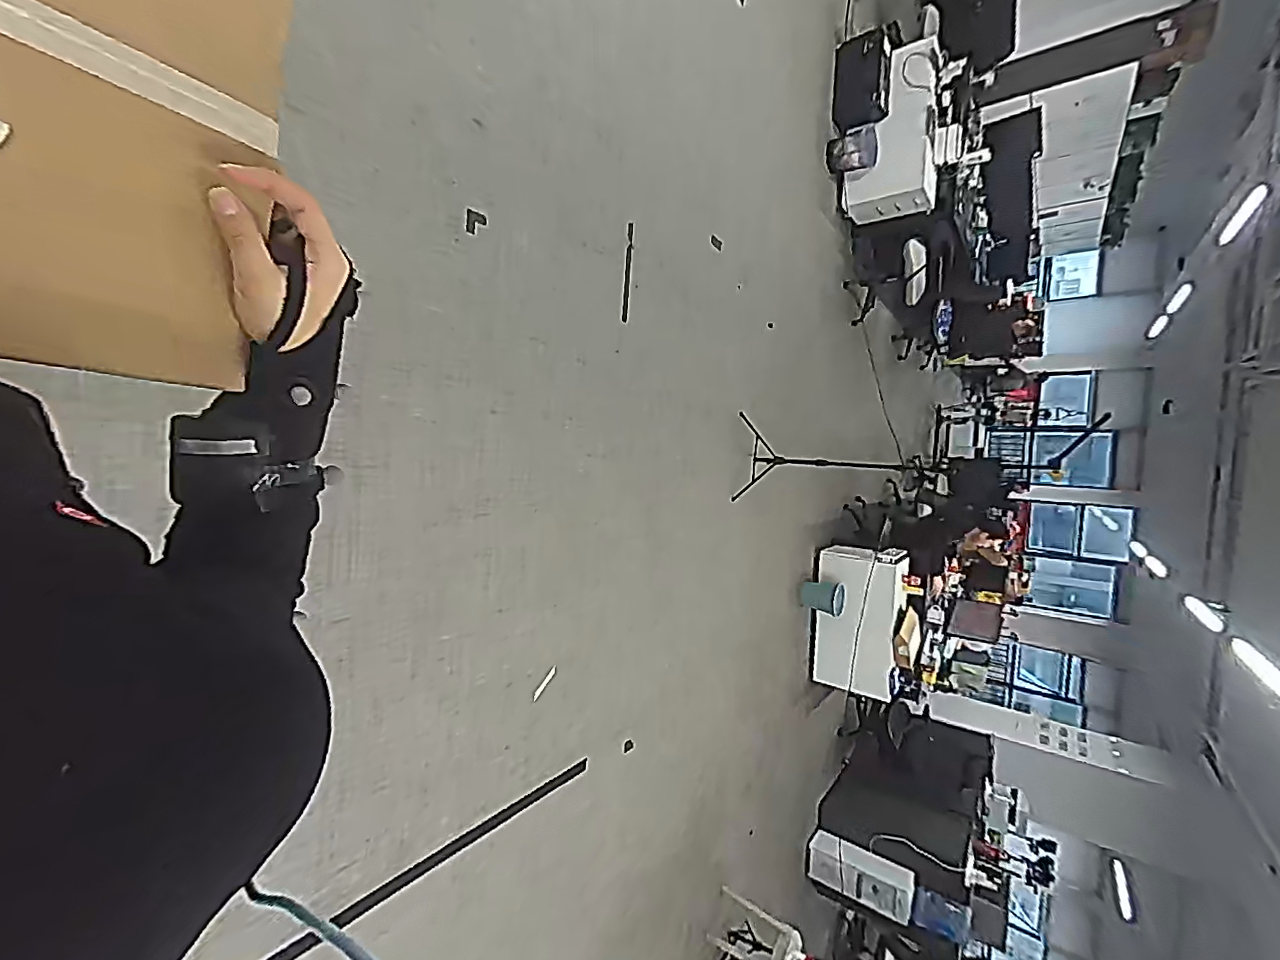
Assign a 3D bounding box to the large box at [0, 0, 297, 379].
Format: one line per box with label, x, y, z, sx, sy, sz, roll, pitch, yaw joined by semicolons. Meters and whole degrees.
large box;-0.468;-0.249;0.281;0.408;0.320;0.320;4;99;-53
